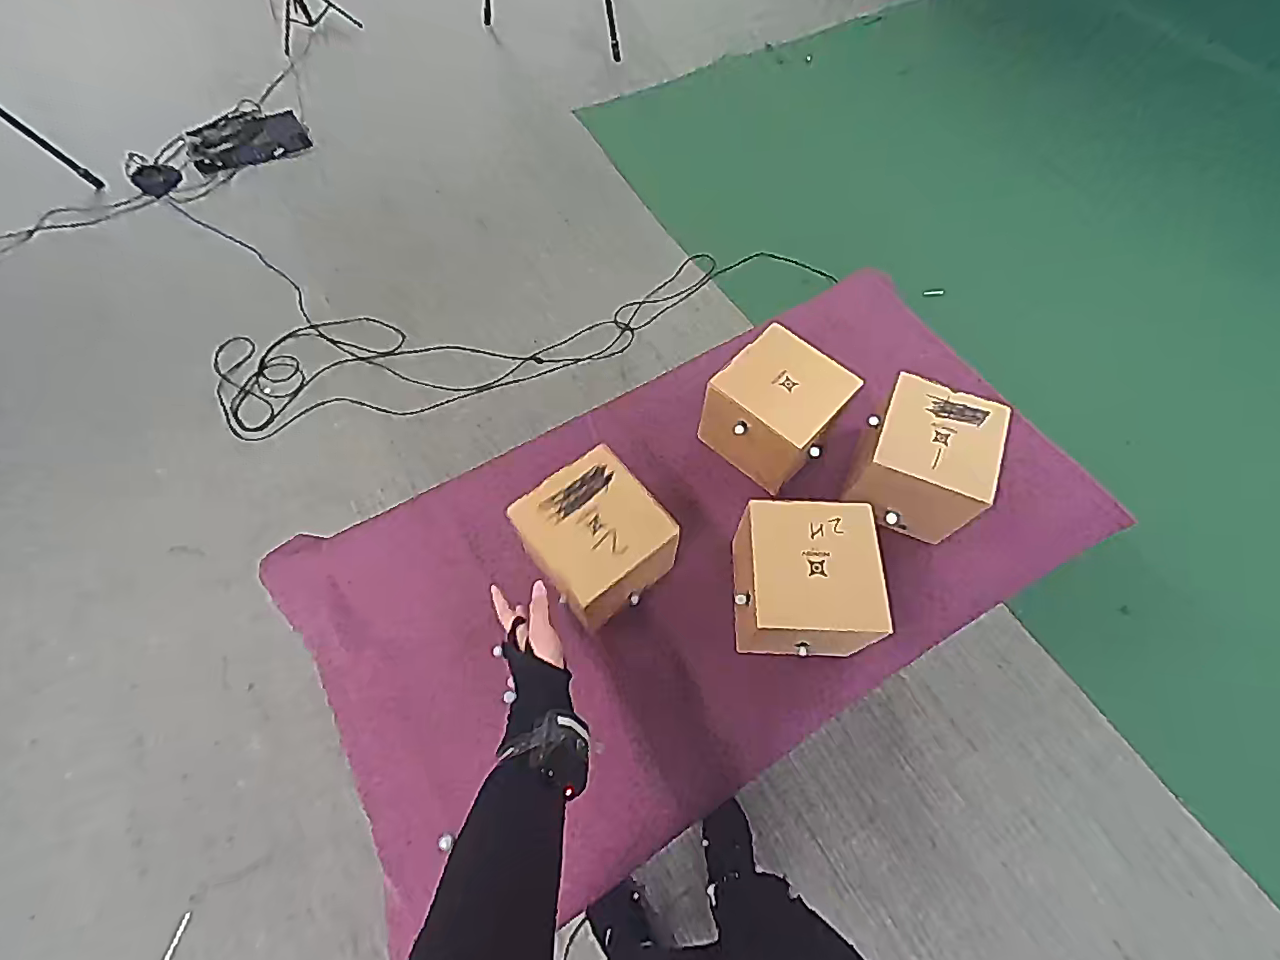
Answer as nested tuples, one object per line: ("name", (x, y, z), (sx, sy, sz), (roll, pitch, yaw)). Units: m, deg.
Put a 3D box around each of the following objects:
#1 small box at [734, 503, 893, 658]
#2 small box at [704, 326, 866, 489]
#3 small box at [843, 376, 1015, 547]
("small box", (0.226, 0.146, 0.754), (0.168, 0.176, 0.179), (2, 64, 1))
("small box", (0.225, -0.107, 0.886), (0.179, 0.176, 0.168), (41, 71, 18))
("small box", (0.438, -0.023, 0.840), (0.168, 0.176, 0.179), (23, 67, 12))
